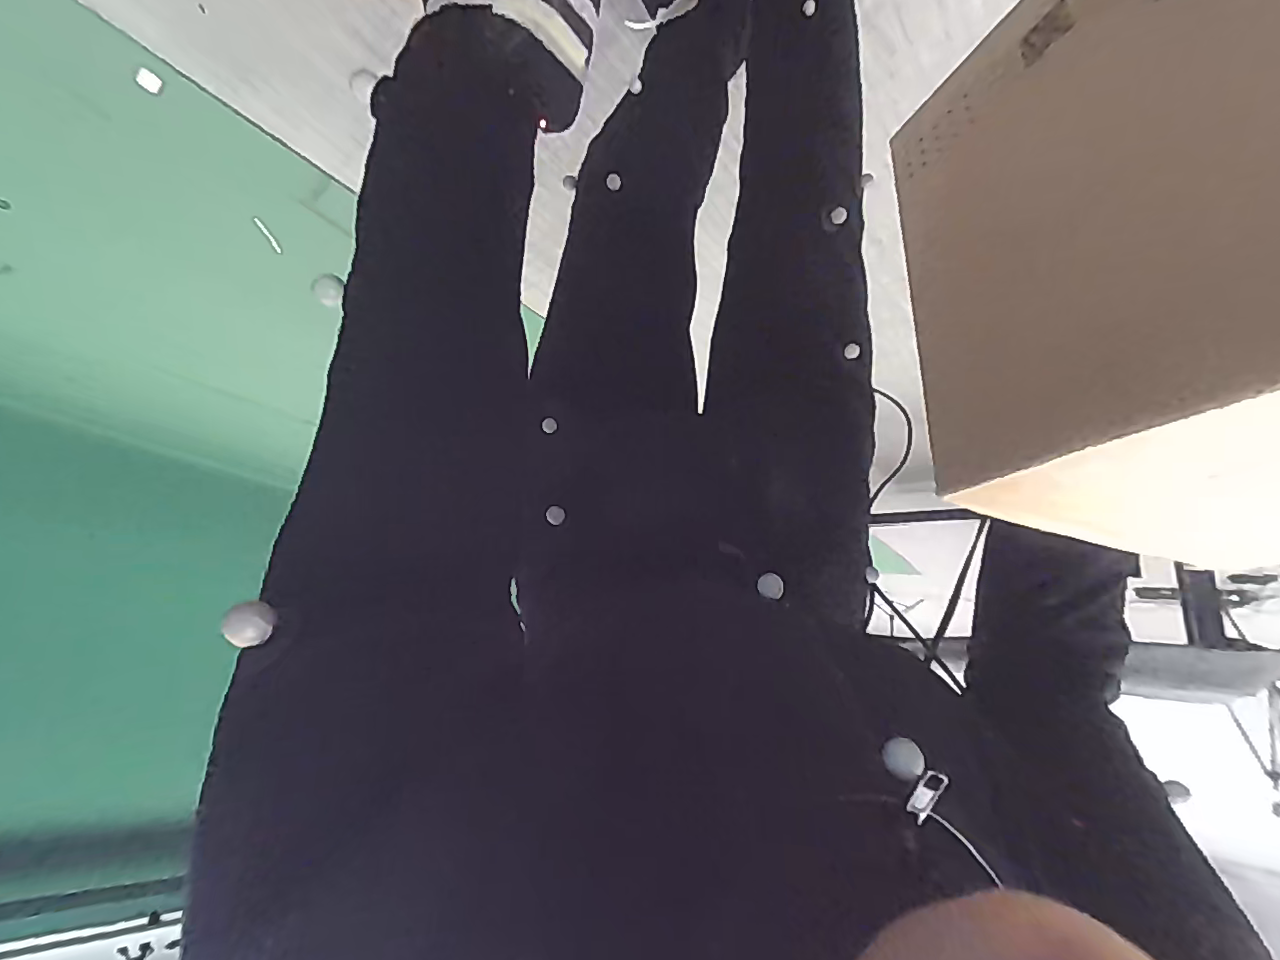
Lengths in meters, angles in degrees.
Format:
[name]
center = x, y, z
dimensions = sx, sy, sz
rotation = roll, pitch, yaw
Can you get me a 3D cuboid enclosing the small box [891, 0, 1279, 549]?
[small box]
center = 0.210, -0.087, 0.169
dimensions = 0.179, 0.176, 0.168
rotation = 12, 157, -19
